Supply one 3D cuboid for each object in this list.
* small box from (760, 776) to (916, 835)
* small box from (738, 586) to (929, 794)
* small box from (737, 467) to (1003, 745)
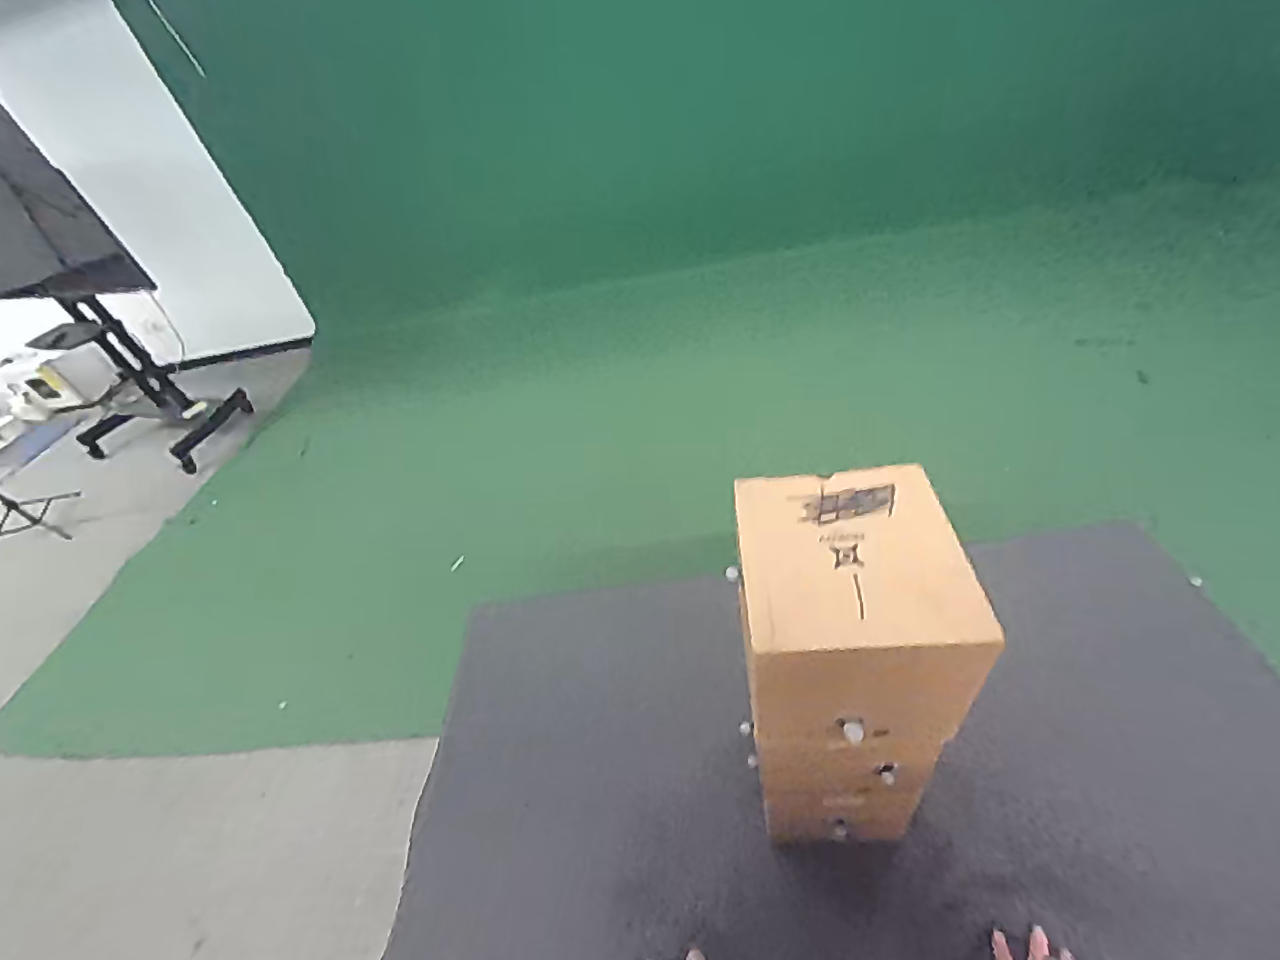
[{"bbox_3d":[0.237,0.343,0.701,0.168,0.176,0.179,-7,43,9],"label":"small box"},{"bbox_3d":[0.203,0.228,0.592,0.168,0.176,0.179,-7,42,8],"label":"small box"},{"bbox_3d":[0.176,0.113,0.479,0.168,0.176,0.179,-6,44,9],"label":"small box"}]
